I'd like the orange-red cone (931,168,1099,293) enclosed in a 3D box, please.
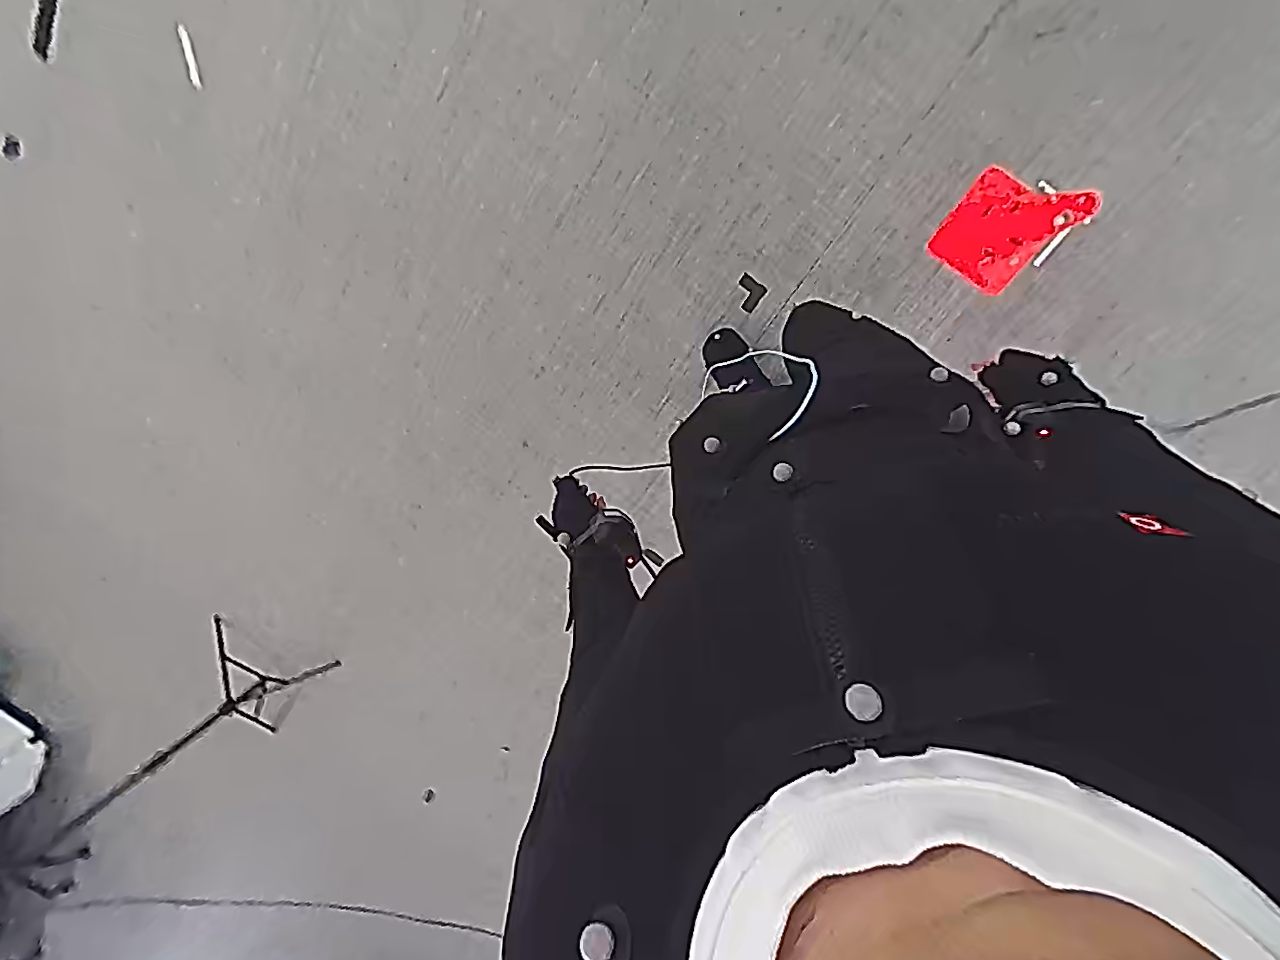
[{"bbox_3d":[0.734,-0.491,1.014,0.199,0.360,0.198,36,110,0],"label":"orange-red cone"}]
